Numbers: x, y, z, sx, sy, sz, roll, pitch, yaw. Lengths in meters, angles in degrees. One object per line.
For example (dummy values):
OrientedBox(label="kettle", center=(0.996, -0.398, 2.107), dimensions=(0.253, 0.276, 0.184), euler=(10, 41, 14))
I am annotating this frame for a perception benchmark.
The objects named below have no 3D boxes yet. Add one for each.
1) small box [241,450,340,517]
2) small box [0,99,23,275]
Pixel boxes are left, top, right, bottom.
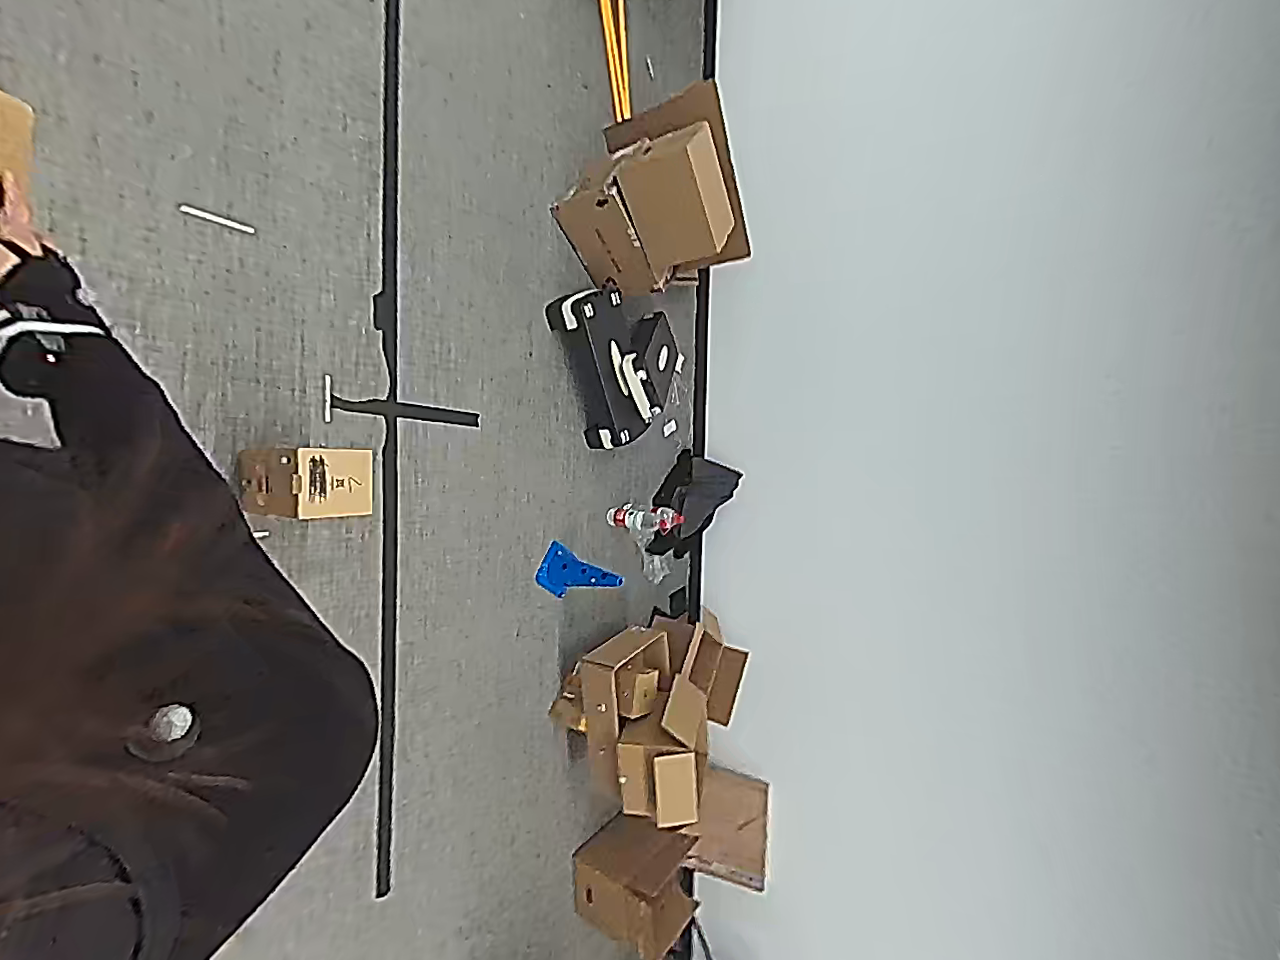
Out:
OrientedBox(label="small box", center=(-0.929, 0.003, 1.438), dimensions=(0.179, 0.176, 0.168), euler=(-5, 96, -53))
OrientedBox(label="small box", center=(-0.707, -0.301, 0.496), dimensions=(0.168, 0.176, 0.179), euler=(5, 111, -43))
